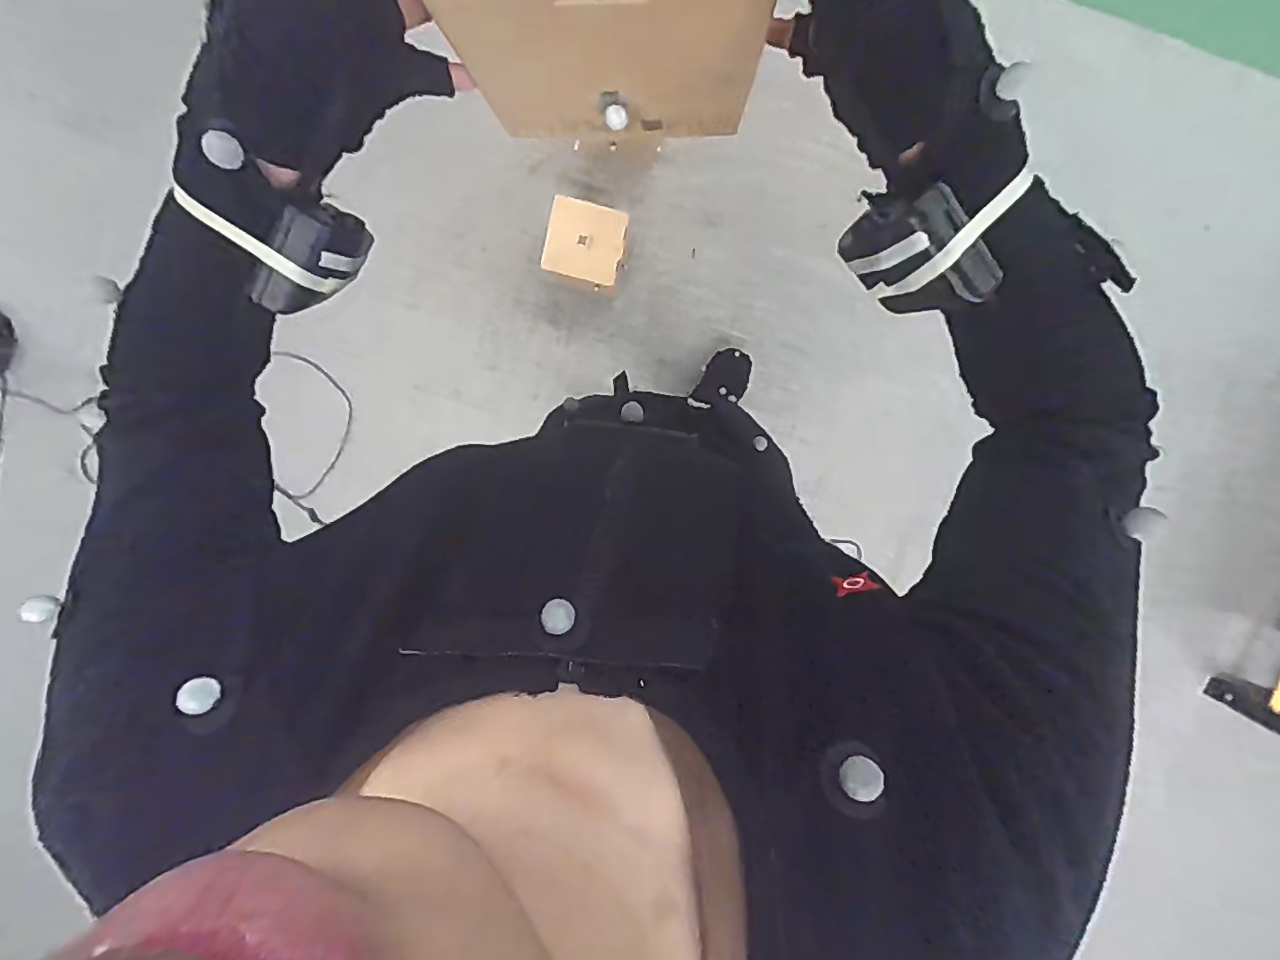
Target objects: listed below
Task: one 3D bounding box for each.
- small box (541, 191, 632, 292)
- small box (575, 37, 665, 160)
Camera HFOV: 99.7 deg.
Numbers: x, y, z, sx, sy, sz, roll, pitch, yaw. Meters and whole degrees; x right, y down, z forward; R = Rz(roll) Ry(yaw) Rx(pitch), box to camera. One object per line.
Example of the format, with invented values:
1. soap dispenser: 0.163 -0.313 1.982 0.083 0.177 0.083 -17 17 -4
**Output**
1. small box: -0.123 -0.561 1.296 0.179 0.176 0.168 13 100 -2
2. small box: -0.042 -0.863 1.241 0.179 0.176 0.168 9 99 0
